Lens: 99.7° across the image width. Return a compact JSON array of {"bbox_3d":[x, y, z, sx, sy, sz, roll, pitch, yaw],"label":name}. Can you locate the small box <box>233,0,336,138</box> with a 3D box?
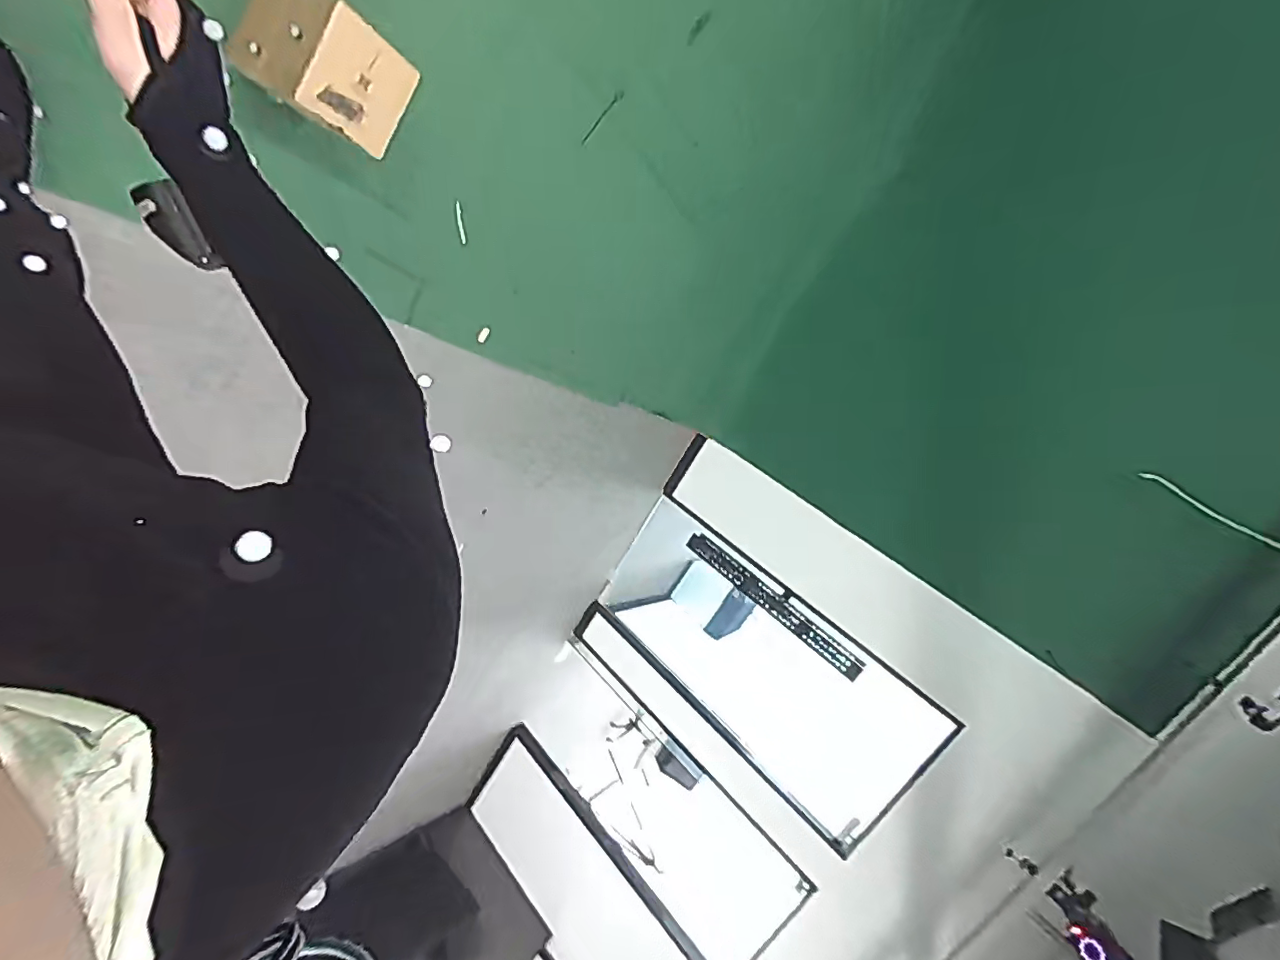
[{"bbox_3d":[-0.667,-0.828,1.075,0.179,0.176,0.168,-57,152,11],"label":"small box"}]

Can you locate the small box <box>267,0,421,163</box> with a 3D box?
[{"bbox_3d":[-0.552,-0.737,1.000,0.179,0.176,0.168,-57,153,10],"label":"small box"}]
